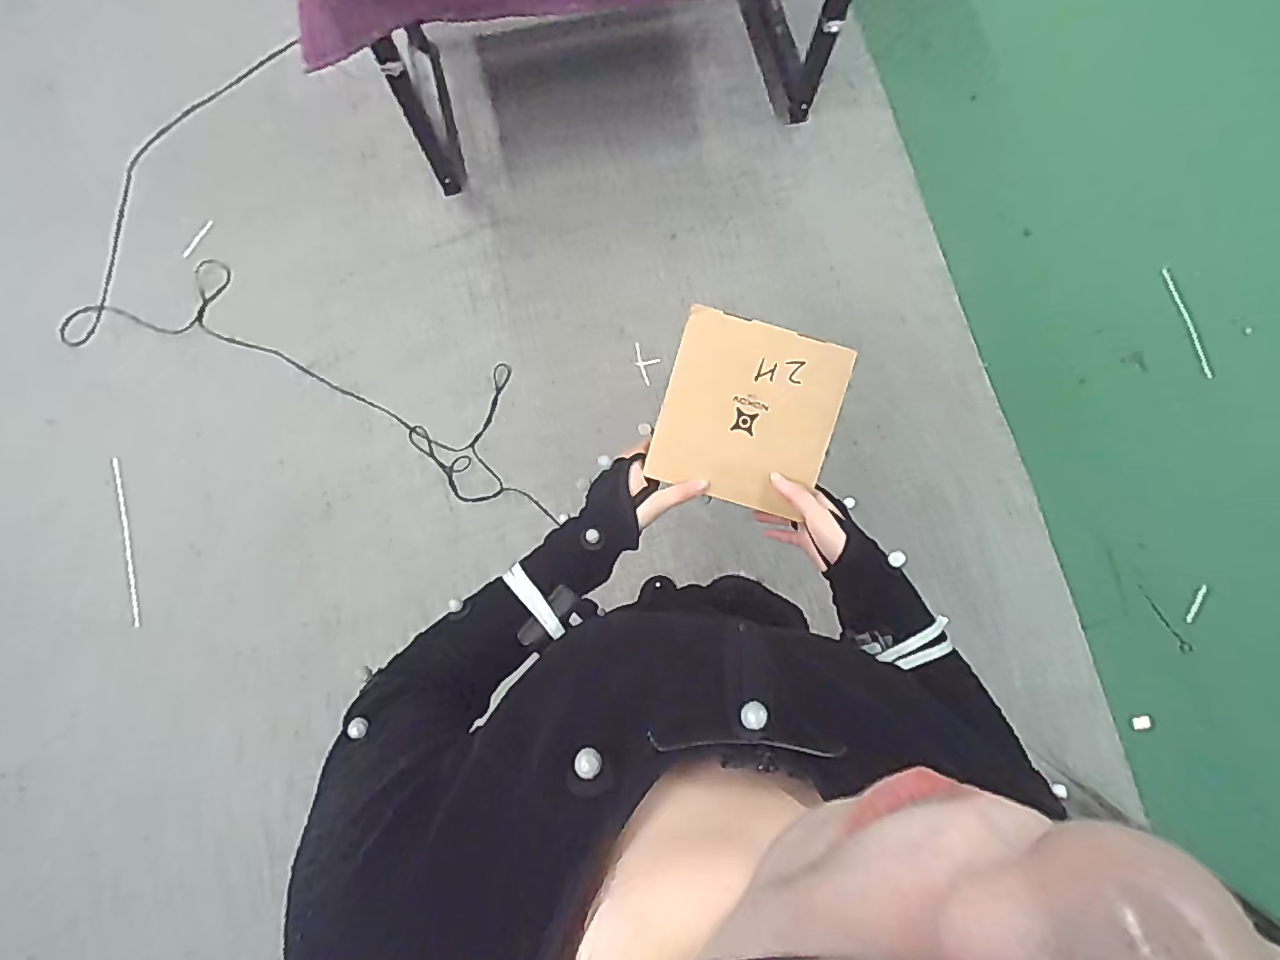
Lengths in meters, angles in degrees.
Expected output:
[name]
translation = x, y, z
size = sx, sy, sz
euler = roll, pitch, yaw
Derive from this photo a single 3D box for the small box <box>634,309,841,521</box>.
[small box]
translation = 0.099, -0.069, 0.615
size = 0.168, 0.176, 0.179
euler = 16, 94, 1
